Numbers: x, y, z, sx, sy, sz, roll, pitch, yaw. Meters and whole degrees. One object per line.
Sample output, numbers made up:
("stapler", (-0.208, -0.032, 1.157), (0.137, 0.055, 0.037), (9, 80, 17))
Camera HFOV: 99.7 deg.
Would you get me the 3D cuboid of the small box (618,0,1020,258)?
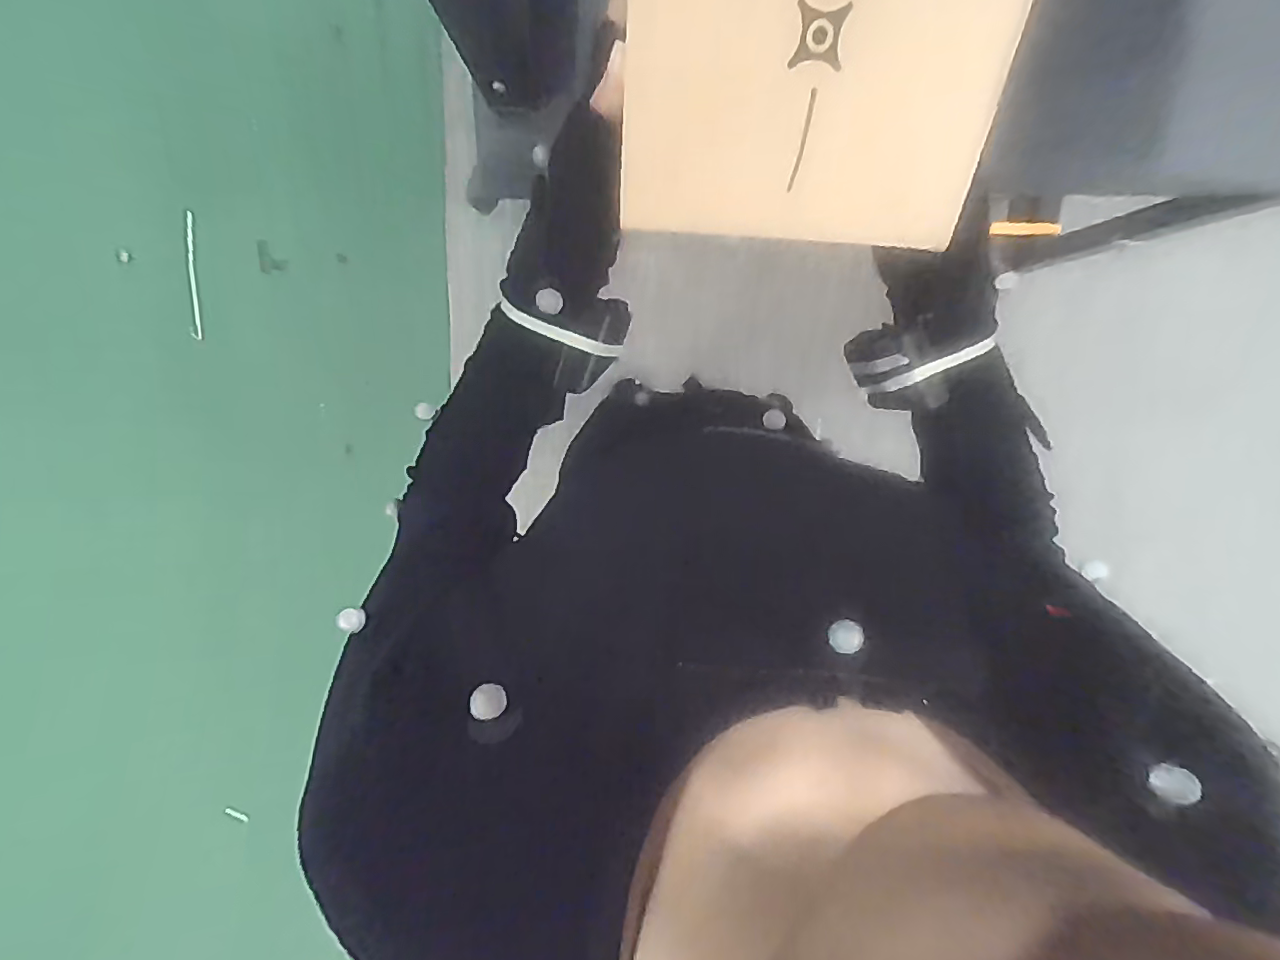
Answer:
("small box", (0.075, -0.233, 0.298), (0.168, 0.176, 0.179), (3, 121, -2))
